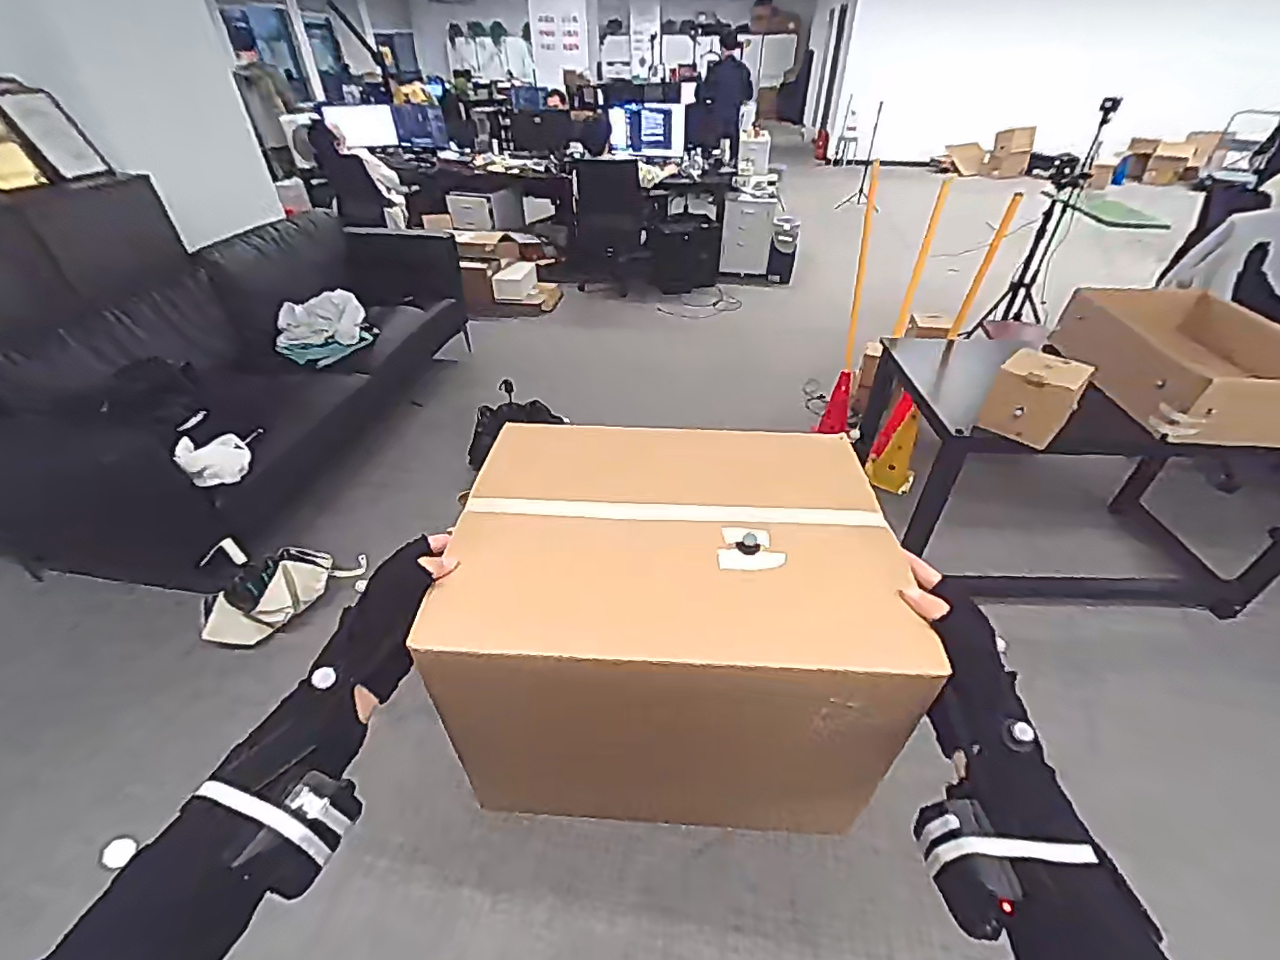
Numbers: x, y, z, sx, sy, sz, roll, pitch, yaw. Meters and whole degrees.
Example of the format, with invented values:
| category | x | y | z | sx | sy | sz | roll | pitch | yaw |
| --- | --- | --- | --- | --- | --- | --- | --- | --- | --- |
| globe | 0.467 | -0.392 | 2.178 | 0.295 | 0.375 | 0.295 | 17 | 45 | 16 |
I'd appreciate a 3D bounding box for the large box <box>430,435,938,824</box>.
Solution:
| category | x | y | z | sx | sy | sz | roll | pitch | yaw |
| --- | --- | --- | --- | --- | --- | --- | --- | --- | --- |
| large box | 0.033 | 0.162 | 0.622 | 0.408 | 0.320 | 0.320 | 3 | 39 | 1 |
